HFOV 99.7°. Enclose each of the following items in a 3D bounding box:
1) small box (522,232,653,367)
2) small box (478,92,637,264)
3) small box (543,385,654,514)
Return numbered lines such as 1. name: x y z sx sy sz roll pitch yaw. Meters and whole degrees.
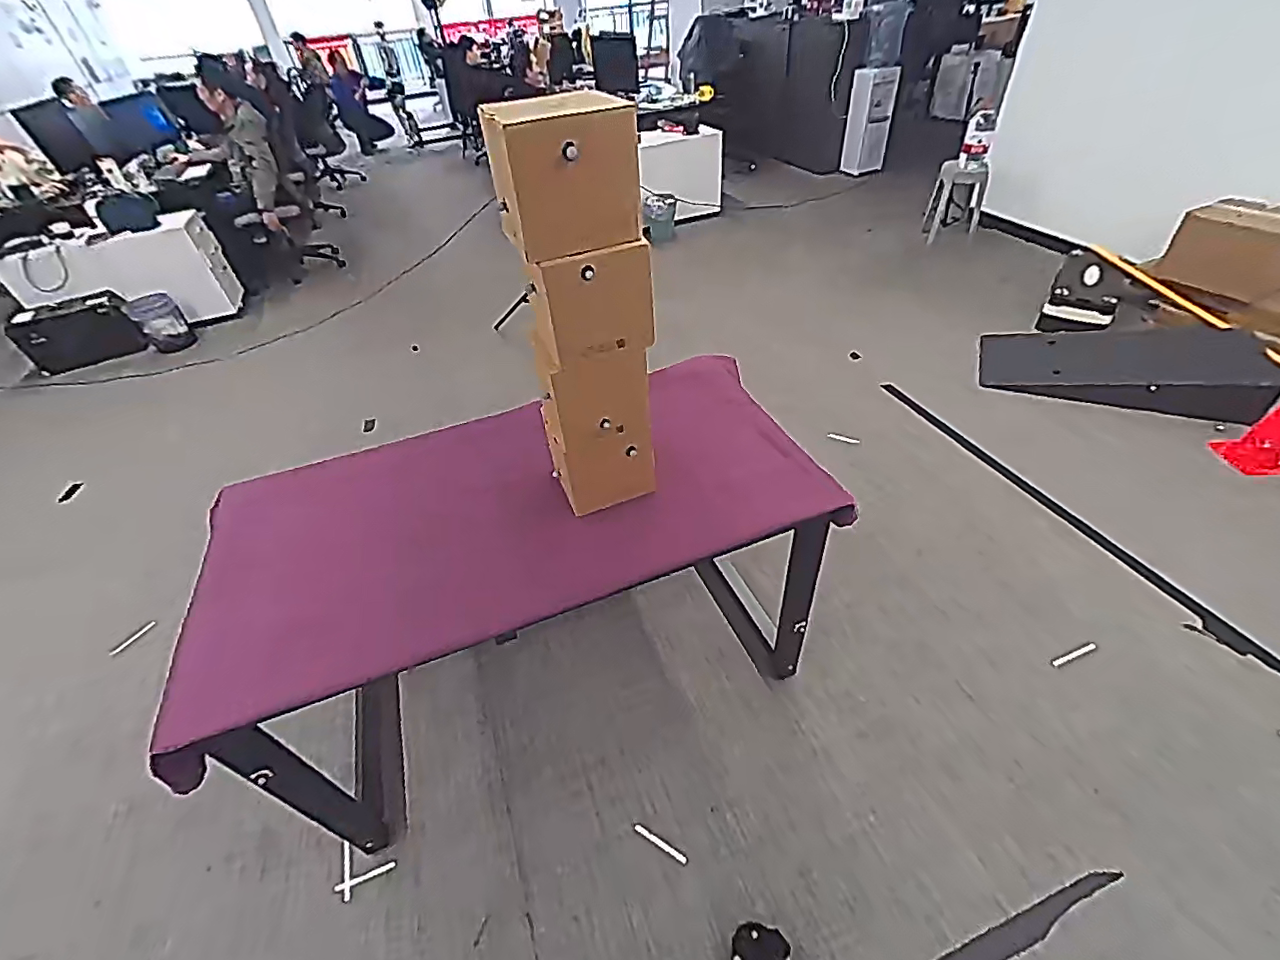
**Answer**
1. small box: -0.087 -0.306 0.874 0.168 0.176 0.179 -19 44 -13
2. small box: -0.111 -0.431 0.771 0.179 0.176 0.168 -19 44 -14
3. small box: -0.079 -0.061 1.091 0.179 0.176 0.168 -19 43 -13
